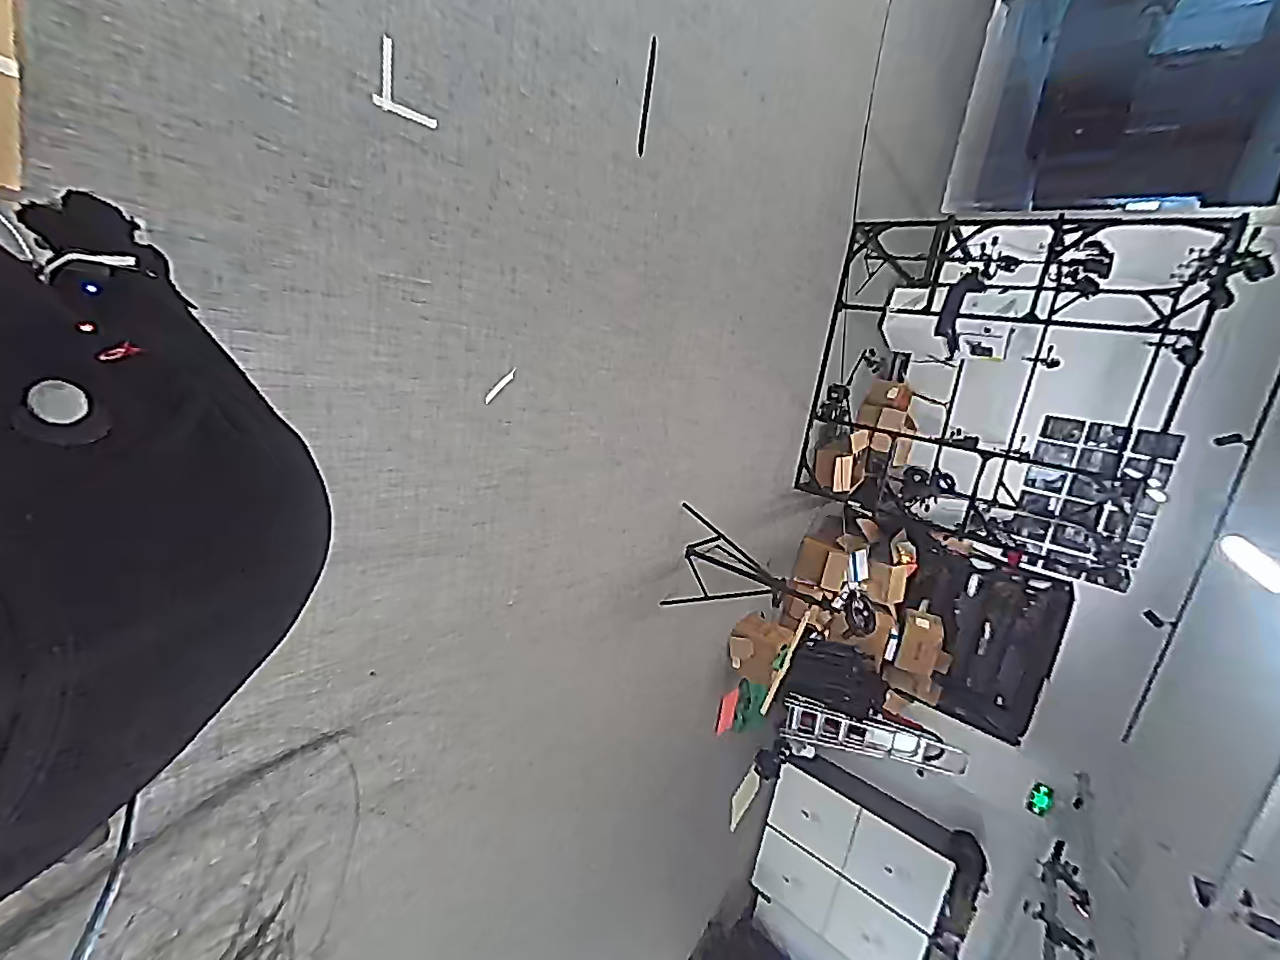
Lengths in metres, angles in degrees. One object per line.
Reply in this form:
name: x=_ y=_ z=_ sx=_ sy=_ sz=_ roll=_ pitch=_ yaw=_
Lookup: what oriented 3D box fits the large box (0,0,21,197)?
large box: x=-1.092 y=-0.580 z=0.664 sx=0.408 sy=0.320 sz=0.320 roll=-4 pitch=108 yaw=-54
